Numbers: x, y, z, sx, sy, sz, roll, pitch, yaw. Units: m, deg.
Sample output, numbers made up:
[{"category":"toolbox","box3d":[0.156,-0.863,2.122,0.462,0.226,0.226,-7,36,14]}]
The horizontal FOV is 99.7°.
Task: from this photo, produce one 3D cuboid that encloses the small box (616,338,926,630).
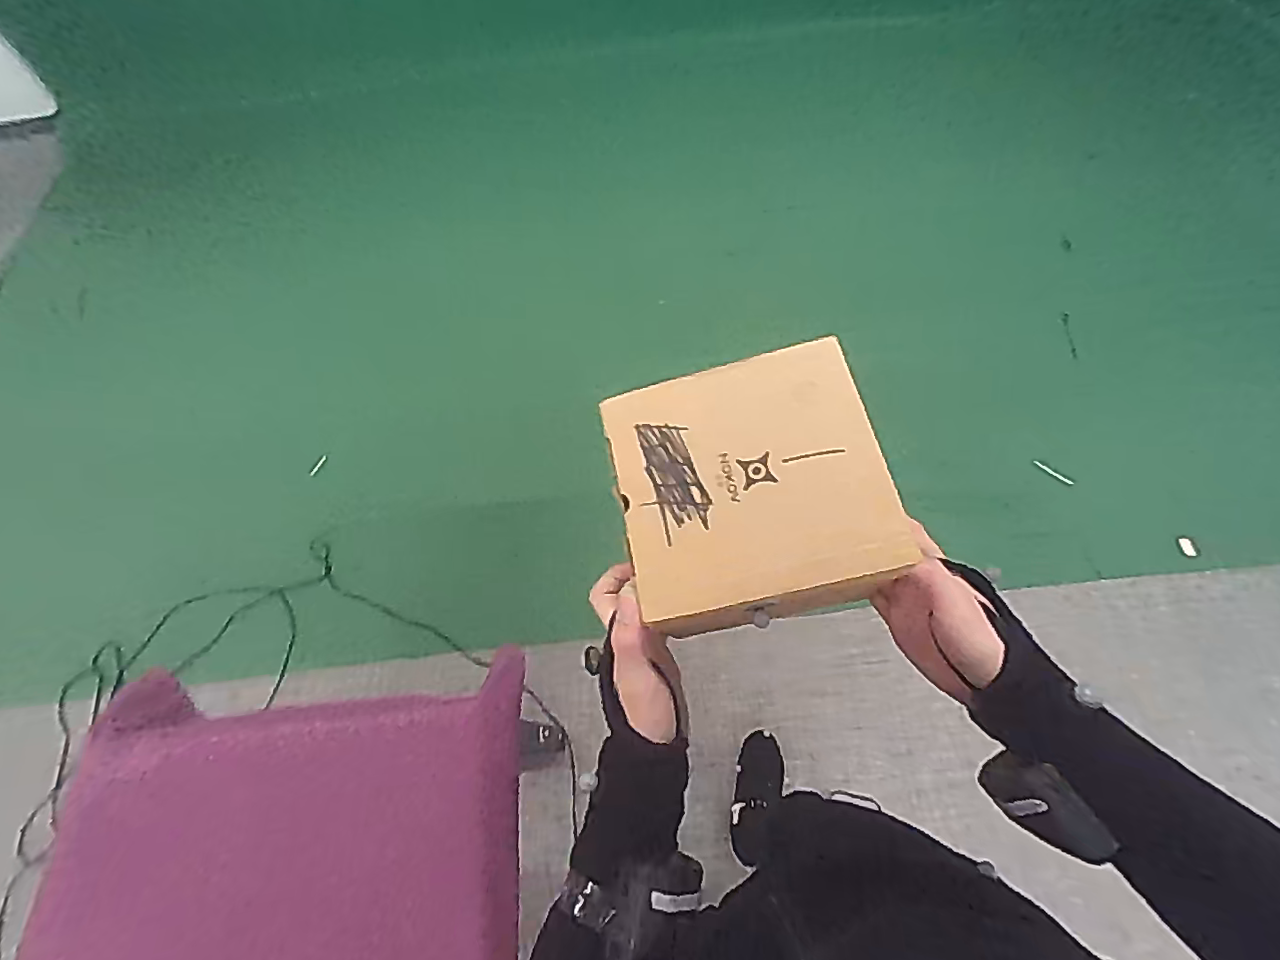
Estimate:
[{"category":"small box","box3d":[0.094,0.020,0.437,0.179,0.176,0.168,-13,68,7]}]
